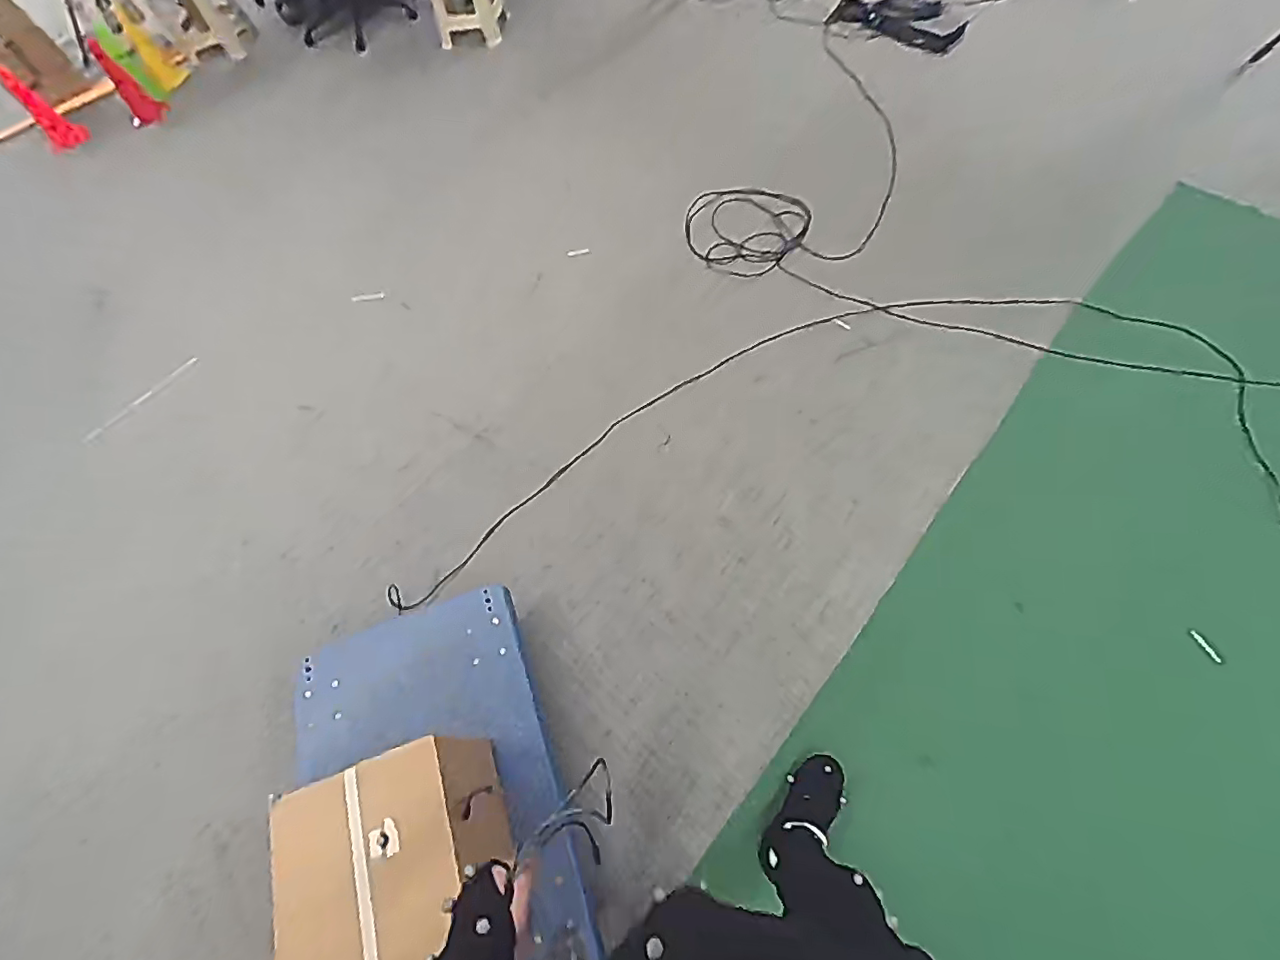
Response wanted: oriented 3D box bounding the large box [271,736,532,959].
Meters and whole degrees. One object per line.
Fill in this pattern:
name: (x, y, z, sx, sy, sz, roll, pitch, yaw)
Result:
large box: (-0.439, 0.756, 1.029, 0.320, 0.320, 0.408, -21, 62, -5)
